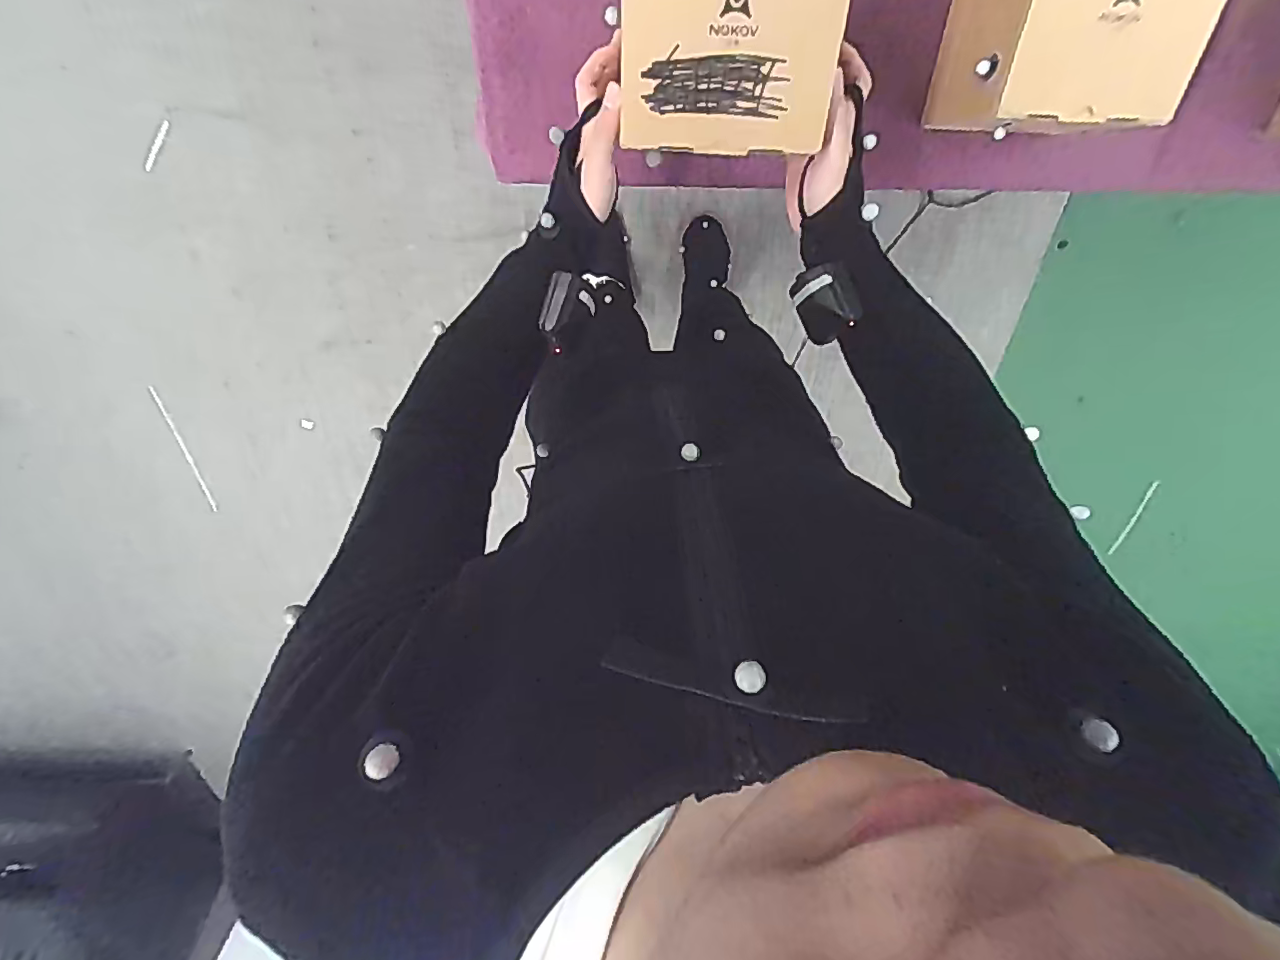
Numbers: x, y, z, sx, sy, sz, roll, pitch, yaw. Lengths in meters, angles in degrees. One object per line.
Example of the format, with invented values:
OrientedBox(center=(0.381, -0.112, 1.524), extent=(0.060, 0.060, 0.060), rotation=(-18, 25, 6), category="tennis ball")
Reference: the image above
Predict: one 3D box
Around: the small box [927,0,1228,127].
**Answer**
OrientedBox(center=(0.407, -0.447, 0.515), extent=(0.168, 0.176, 0.179), rotation=(2, 122, 0), category="small box")
